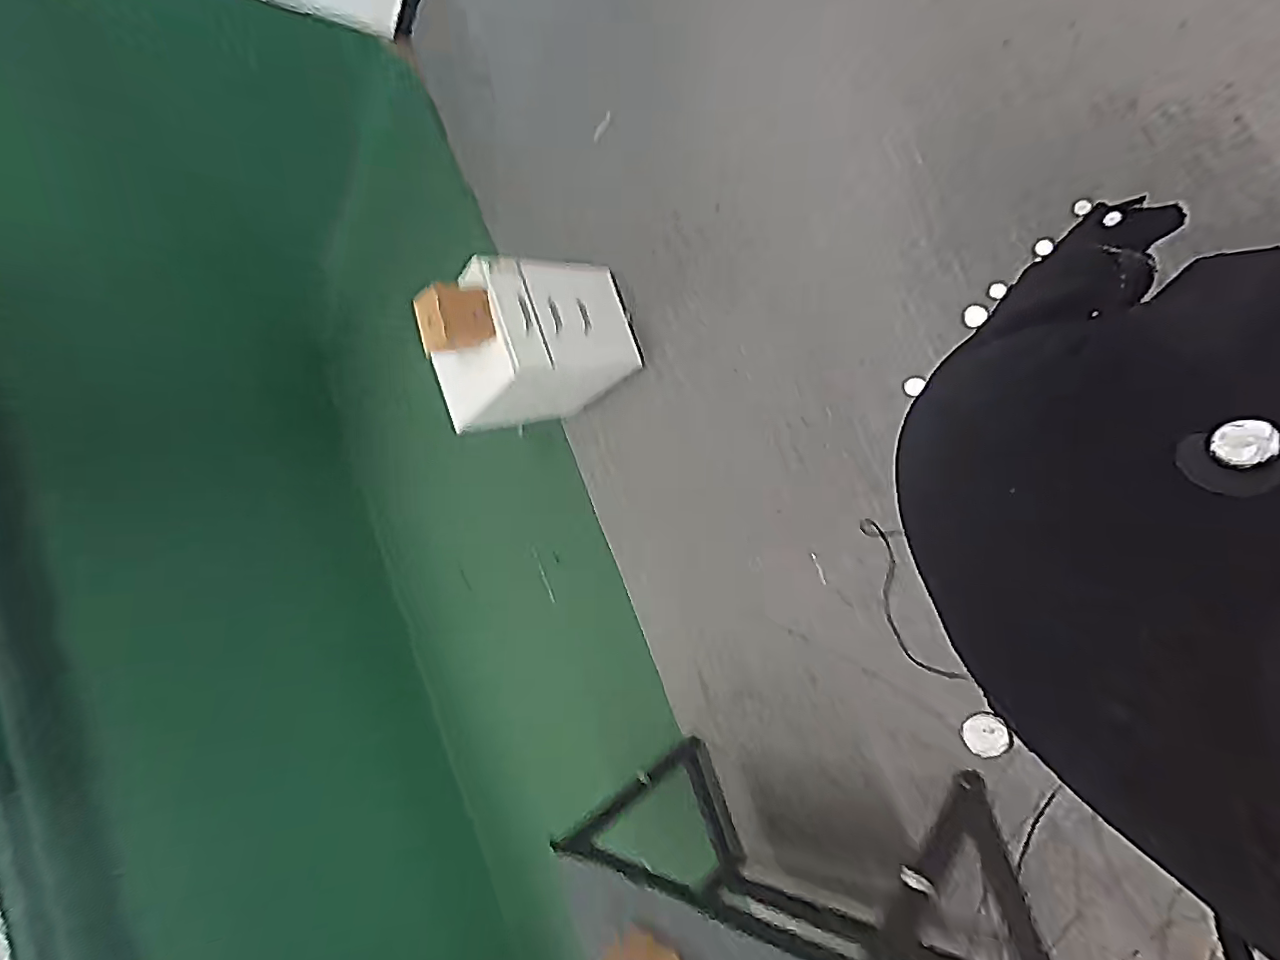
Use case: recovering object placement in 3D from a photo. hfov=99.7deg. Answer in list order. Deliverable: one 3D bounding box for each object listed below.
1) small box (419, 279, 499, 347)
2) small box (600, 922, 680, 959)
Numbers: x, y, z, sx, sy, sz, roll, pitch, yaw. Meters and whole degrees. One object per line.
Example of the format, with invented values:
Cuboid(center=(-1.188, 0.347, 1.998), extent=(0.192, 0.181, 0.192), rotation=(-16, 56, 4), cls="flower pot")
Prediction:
Cuboid(center=(-0.566, -0.518, 1.696), extent=(0.179, 0.176, 0.168), rotation=(-5, 98, 48), cls="small box")
Cuboid(center=(0.011, 1.350, 1.454), extent=(0.179, 0.176, 0.168), rotation=(-21, 86, 49), cls="small box")
